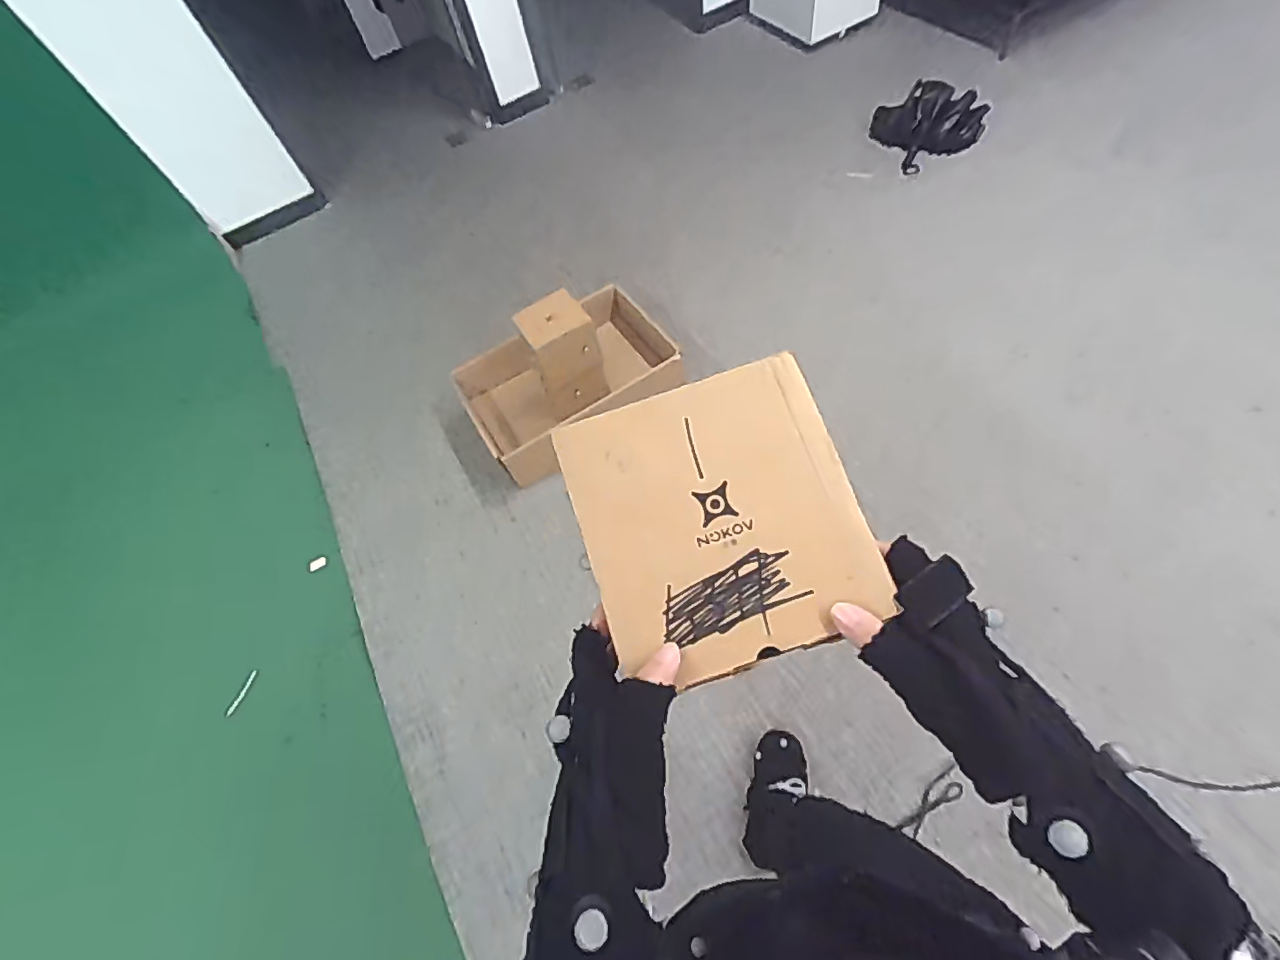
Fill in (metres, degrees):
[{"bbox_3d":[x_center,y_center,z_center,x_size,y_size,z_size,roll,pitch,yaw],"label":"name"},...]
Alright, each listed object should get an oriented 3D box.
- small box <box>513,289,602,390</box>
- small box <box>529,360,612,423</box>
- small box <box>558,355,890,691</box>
[{"bbox_3d":[-0.222,-0.389,1.512,0.179,0.176,0.168,-35,60,-11],"label":"small box"},{"bbox_3d":[-0.209,-0.310,1.676,0.179,0.176,0.168,-33,59,-10],"label":"small box"},{"bbox_3d":[0.053,0.037,0.414,0.168,0.176,0.179,-18,77,-1],"label":"small box"}]
